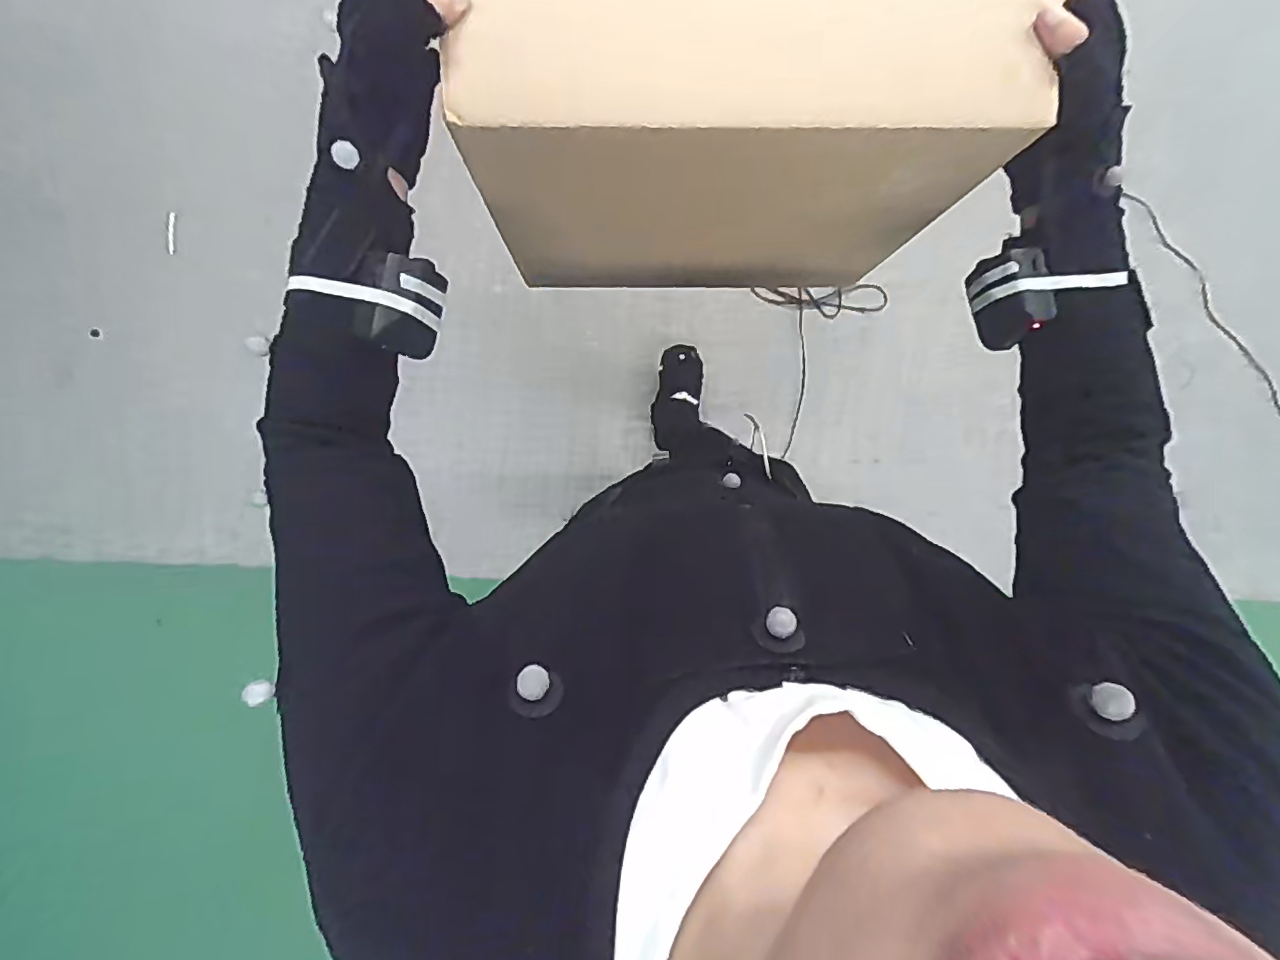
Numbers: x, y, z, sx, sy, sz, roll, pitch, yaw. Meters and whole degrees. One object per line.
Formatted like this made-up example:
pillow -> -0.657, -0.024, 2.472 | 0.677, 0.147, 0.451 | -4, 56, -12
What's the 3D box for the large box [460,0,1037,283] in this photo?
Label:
large box -> 0.065, -0.397, 0.515 | 0.408, 0.320, 0.320 | -2, 91, -3
